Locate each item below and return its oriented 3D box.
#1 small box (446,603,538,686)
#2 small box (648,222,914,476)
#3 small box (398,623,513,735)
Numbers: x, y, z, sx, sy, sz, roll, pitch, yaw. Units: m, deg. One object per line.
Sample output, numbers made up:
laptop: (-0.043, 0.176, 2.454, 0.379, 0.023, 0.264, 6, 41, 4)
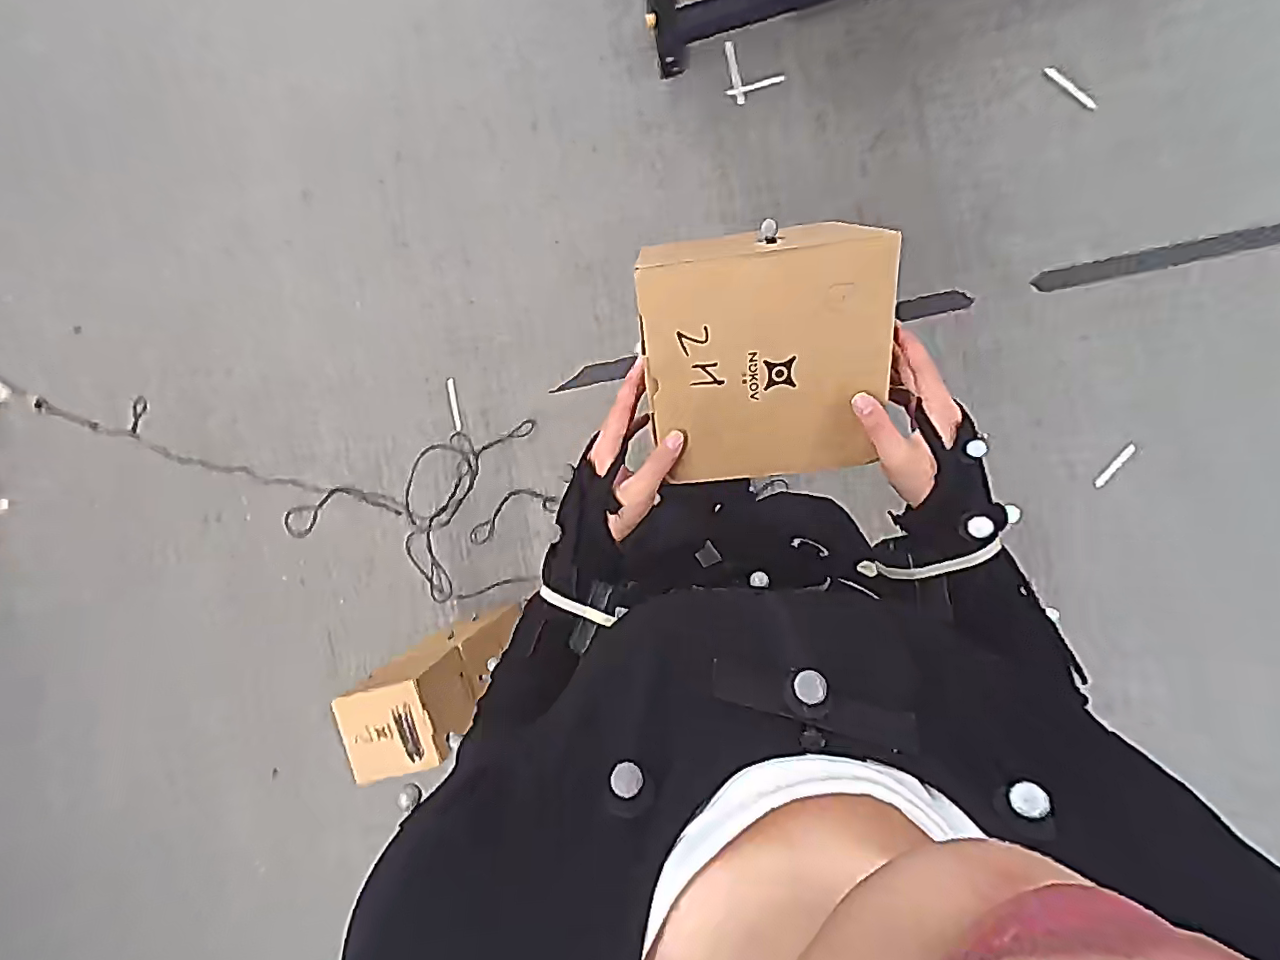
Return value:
small box: (-0.384, 0.431, 1.381, 0.179, 0.176, 0.168, -18, 91, 8)
small box: (0.101, -0.118, 0.459, 0.179, 0.176, 0.168, -4, 117, 6)
small box: (-0.408, 0.436, 1.220, 0.168, 0.176, 0.179, -16, 92, 8)
